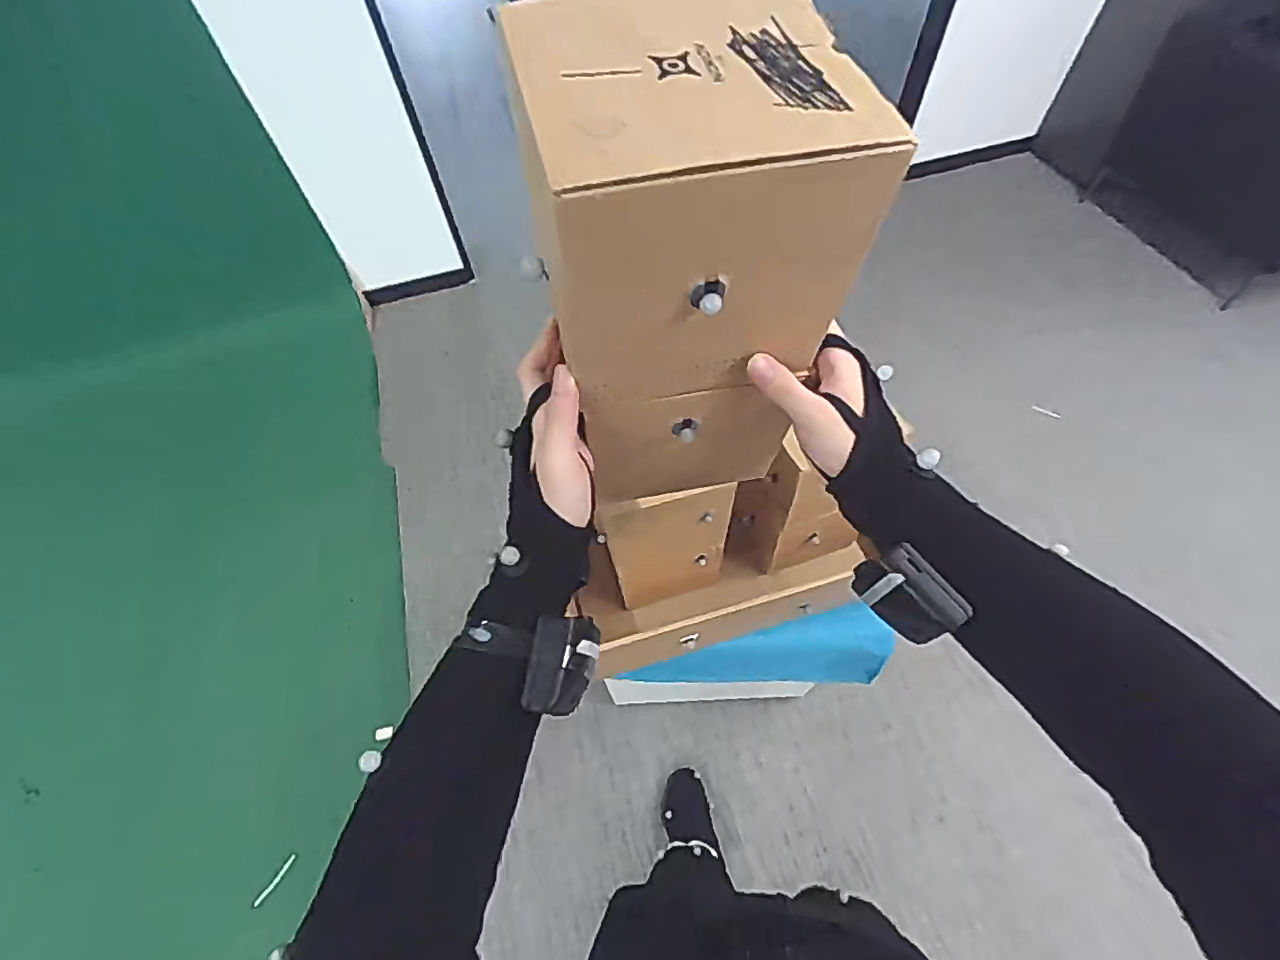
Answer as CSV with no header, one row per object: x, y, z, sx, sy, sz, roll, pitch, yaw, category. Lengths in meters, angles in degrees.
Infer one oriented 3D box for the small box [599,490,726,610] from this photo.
0.037,0.107,0.945,0.179,0.176,0.168,-15,56,-7,small box

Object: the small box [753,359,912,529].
0.270,-0.049,0.828,0.179,0.176,0.168,-19,57,-7,small box

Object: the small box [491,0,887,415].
0.017,-0.165,0.354,0.179,0.176,0.168,-13,64,-7,small box

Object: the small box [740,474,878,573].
0.286,0.043,0.964,0.179,0.176,0.168,-20,57,-6,small box

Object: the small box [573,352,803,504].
0.023,-0.091,0.501,0.179,0.176,0.168,-9,64,-6,small box
